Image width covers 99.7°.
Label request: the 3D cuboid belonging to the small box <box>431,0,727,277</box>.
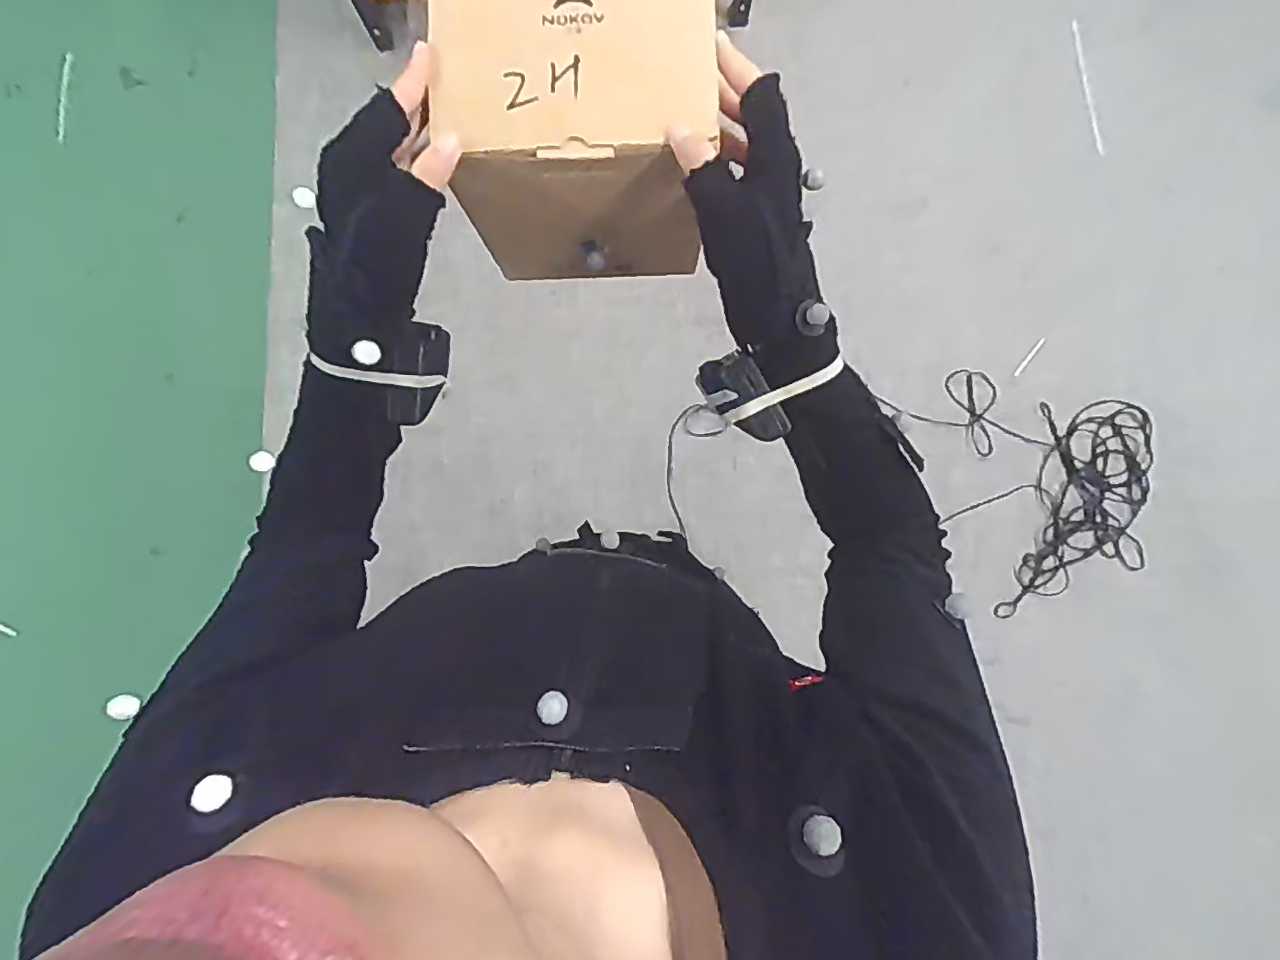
[{"bbox_3d":[-0.033,-0.266,0.383,0.168,0.176,0.179,-1,86,2],"label":"small box"}]
